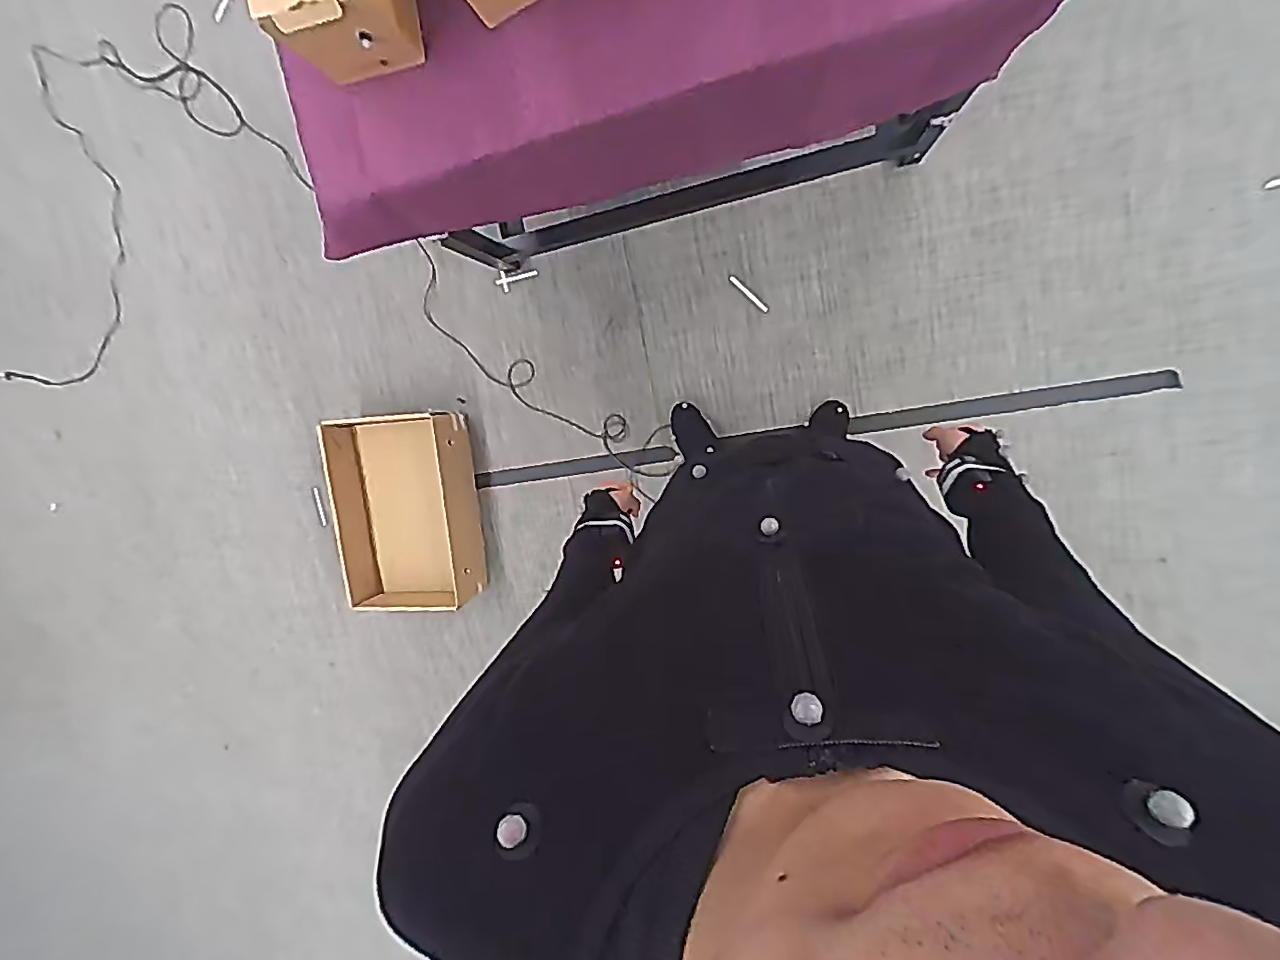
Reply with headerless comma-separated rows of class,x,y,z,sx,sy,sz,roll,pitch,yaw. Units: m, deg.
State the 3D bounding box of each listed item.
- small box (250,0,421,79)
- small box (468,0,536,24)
small box,-0.450,-0.734,0.800,0.168,0.176,0.179,-5,99,11
small box,-0.202,-0.789,0.739,0.179,0.176,0.168,-19,96,14
